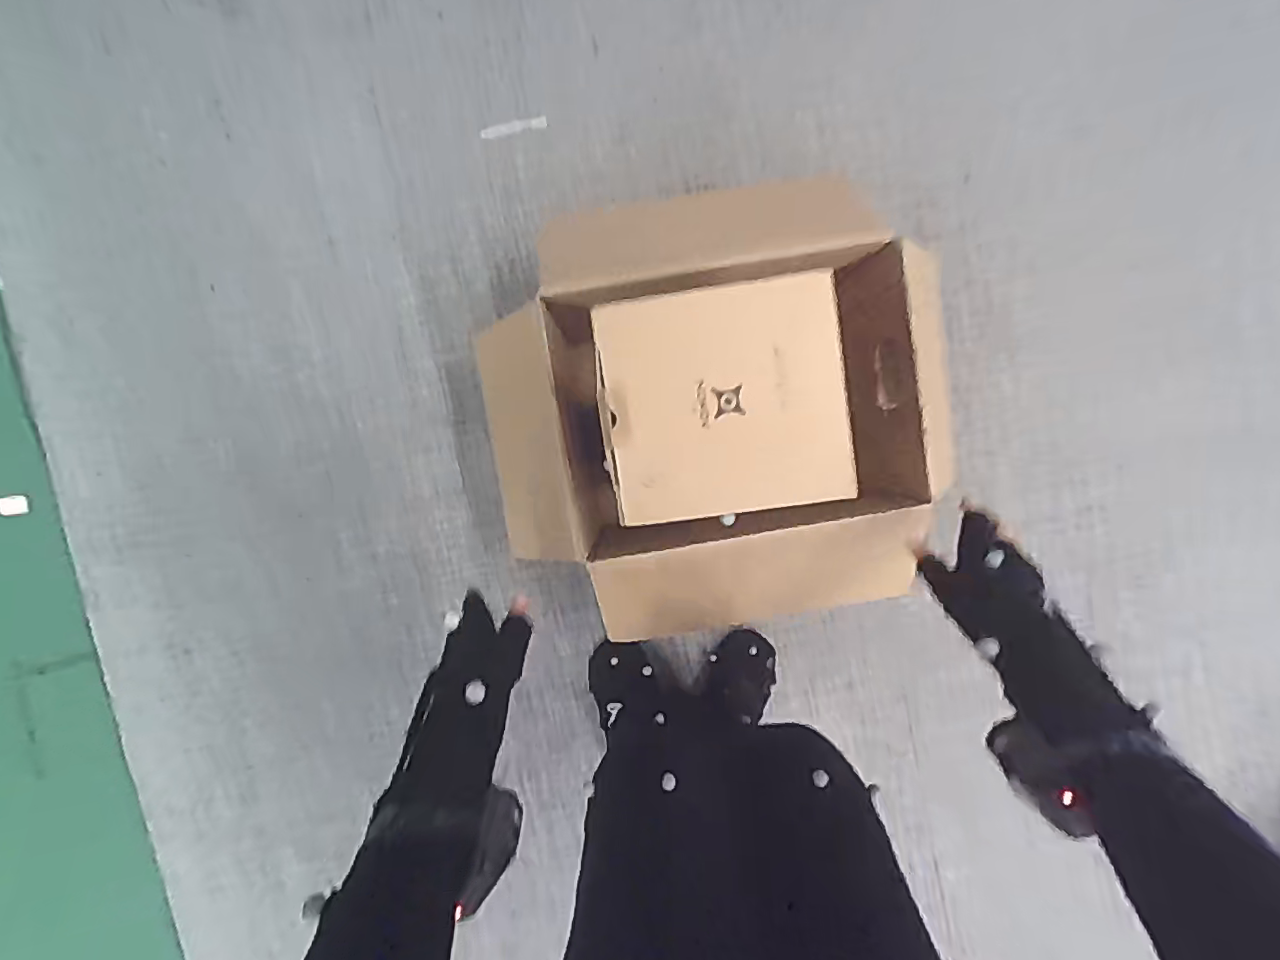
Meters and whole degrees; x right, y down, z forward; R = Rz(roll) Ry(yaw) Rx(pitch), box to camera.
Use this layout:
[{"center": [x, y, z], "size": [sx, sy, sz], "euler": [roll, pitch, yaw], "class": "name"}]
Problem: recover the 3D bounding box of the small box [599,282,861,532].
[{"center": [0.071, -0.058, 0.481], "size": [0.179, 0.176, 0.168], "euler": [-10, 95, 3], "class": "small box"}]
